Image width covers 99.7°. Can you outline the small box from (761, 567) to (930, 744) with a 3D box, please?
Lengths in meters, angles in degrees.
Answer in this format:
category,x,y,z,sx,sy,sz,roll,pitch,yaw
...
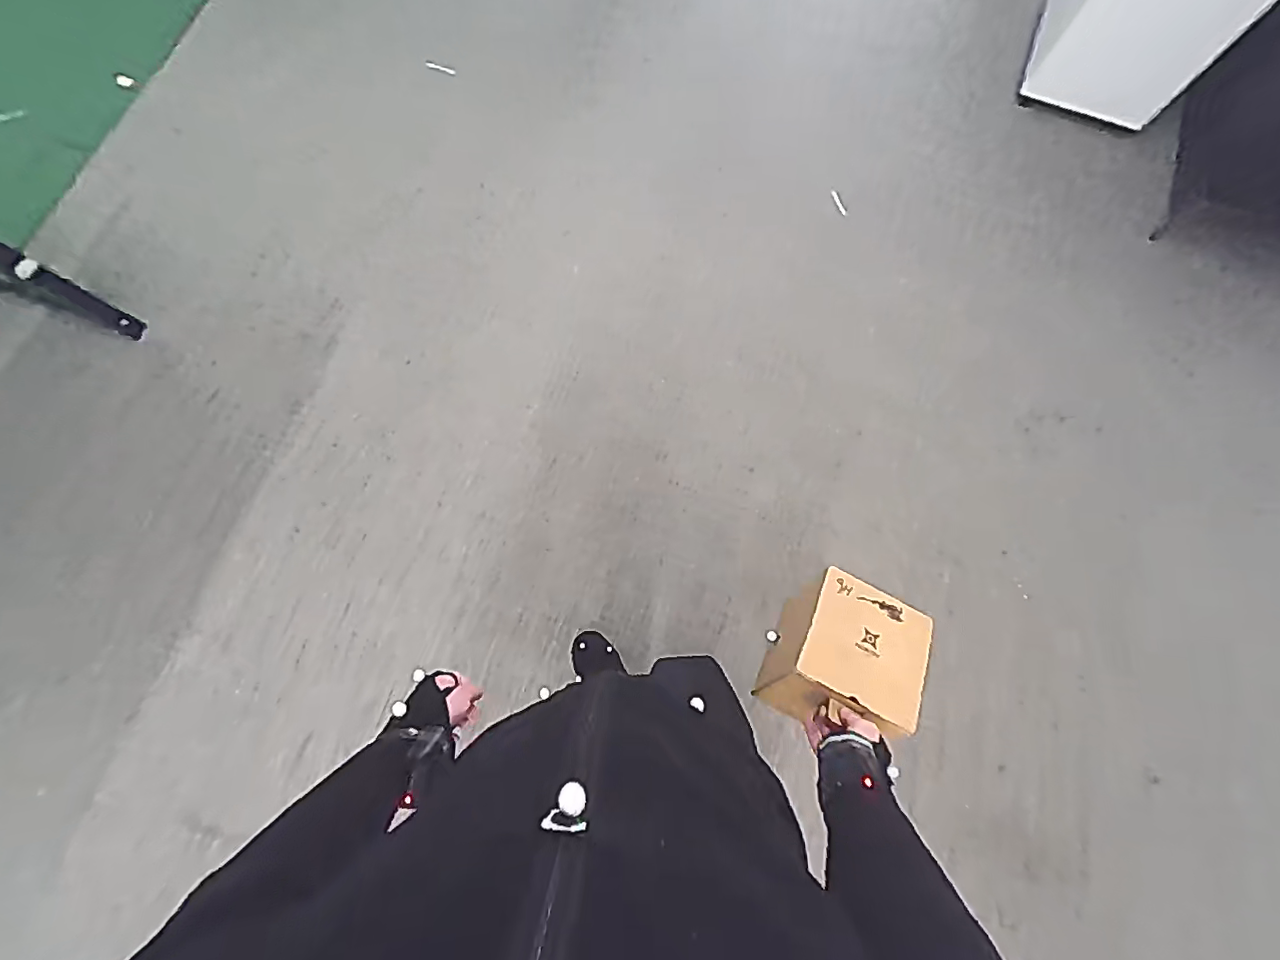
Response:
category,x,y,z,sx,sy,sz,roll,pitch,yaw
small box,0.297,0.267,0.806,0.168,0.176,0.179,26,55,6
